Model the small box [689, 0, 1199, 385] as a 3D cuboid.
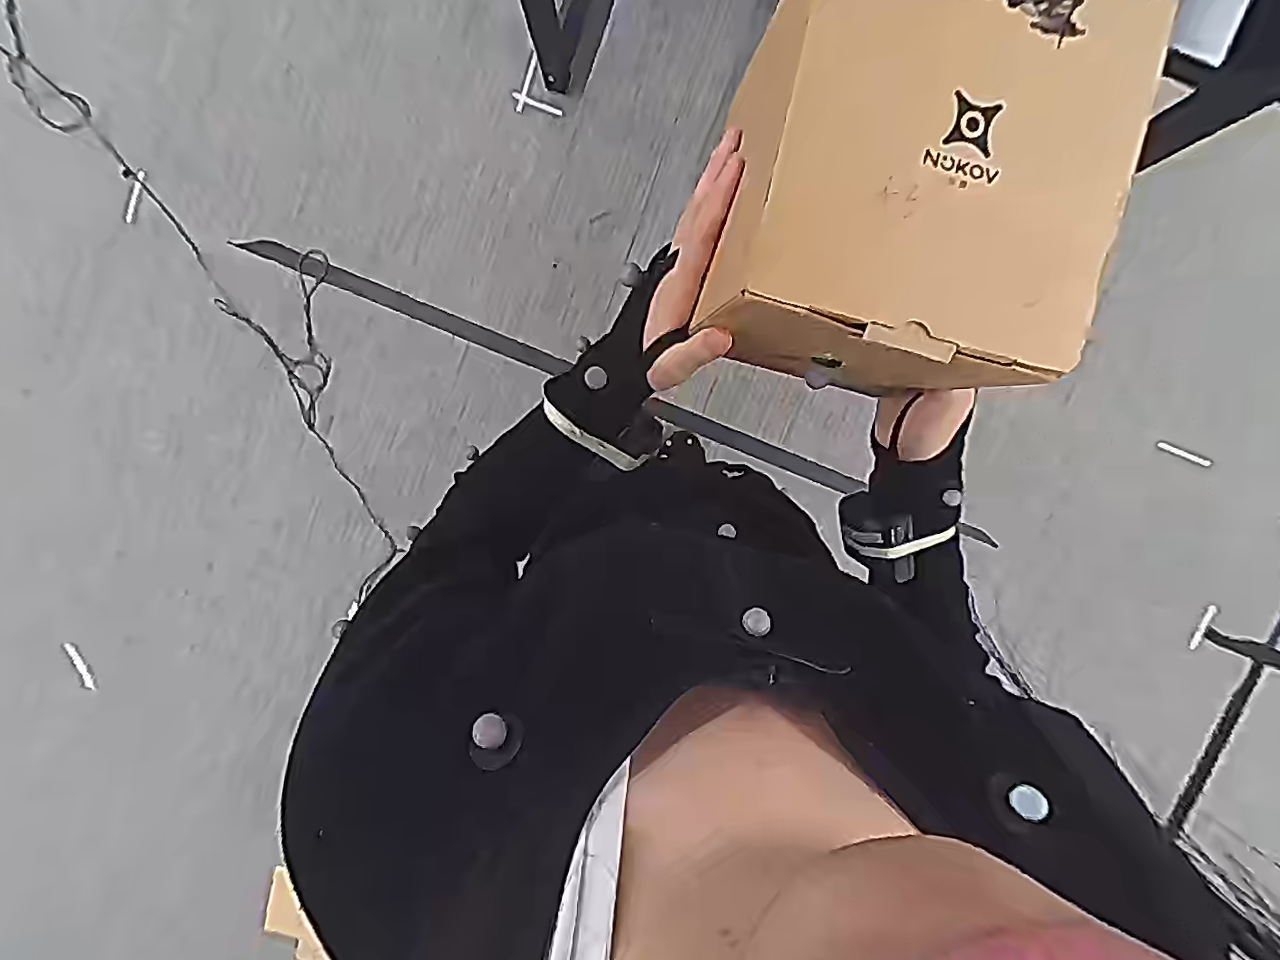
[{"bbox_3d":[0.134,-0.157,0.309,0.168,0.176,0.179,12,96,-9],"label":"small box"}]
